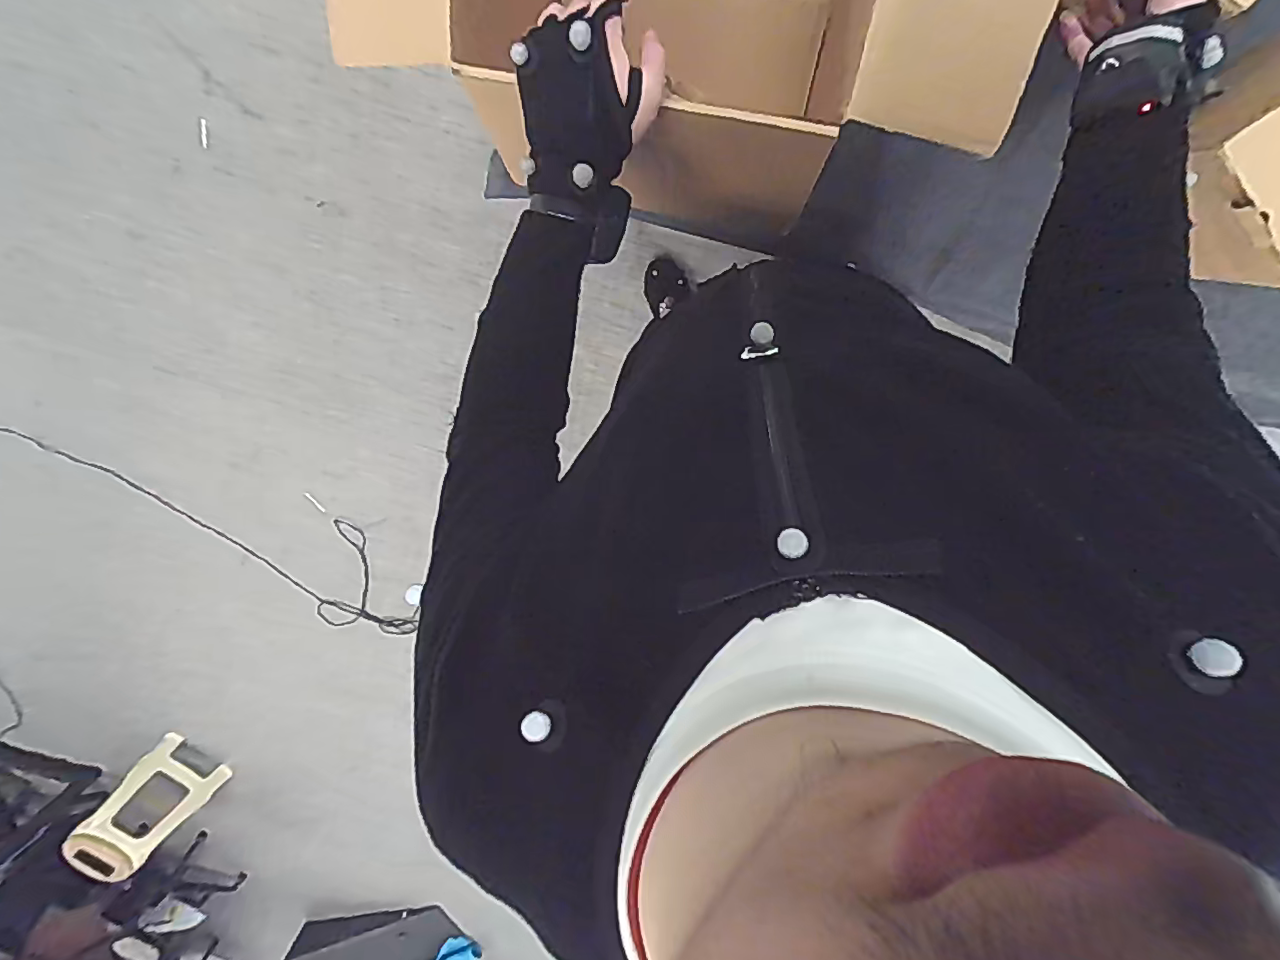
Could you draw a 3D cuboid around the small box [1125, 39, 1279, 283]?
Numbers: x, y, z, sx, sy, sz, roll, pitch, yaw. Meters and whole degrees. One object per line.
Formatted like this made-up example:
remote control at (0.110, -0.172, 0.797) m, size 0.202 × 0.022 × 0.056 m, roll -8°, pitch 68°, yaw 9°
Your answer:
small box at (0.649, -0.327, 0.545) m, size 0.179 × 0.176 × 0.168 m, roll -37°, pitch 105°, yaw 23°
